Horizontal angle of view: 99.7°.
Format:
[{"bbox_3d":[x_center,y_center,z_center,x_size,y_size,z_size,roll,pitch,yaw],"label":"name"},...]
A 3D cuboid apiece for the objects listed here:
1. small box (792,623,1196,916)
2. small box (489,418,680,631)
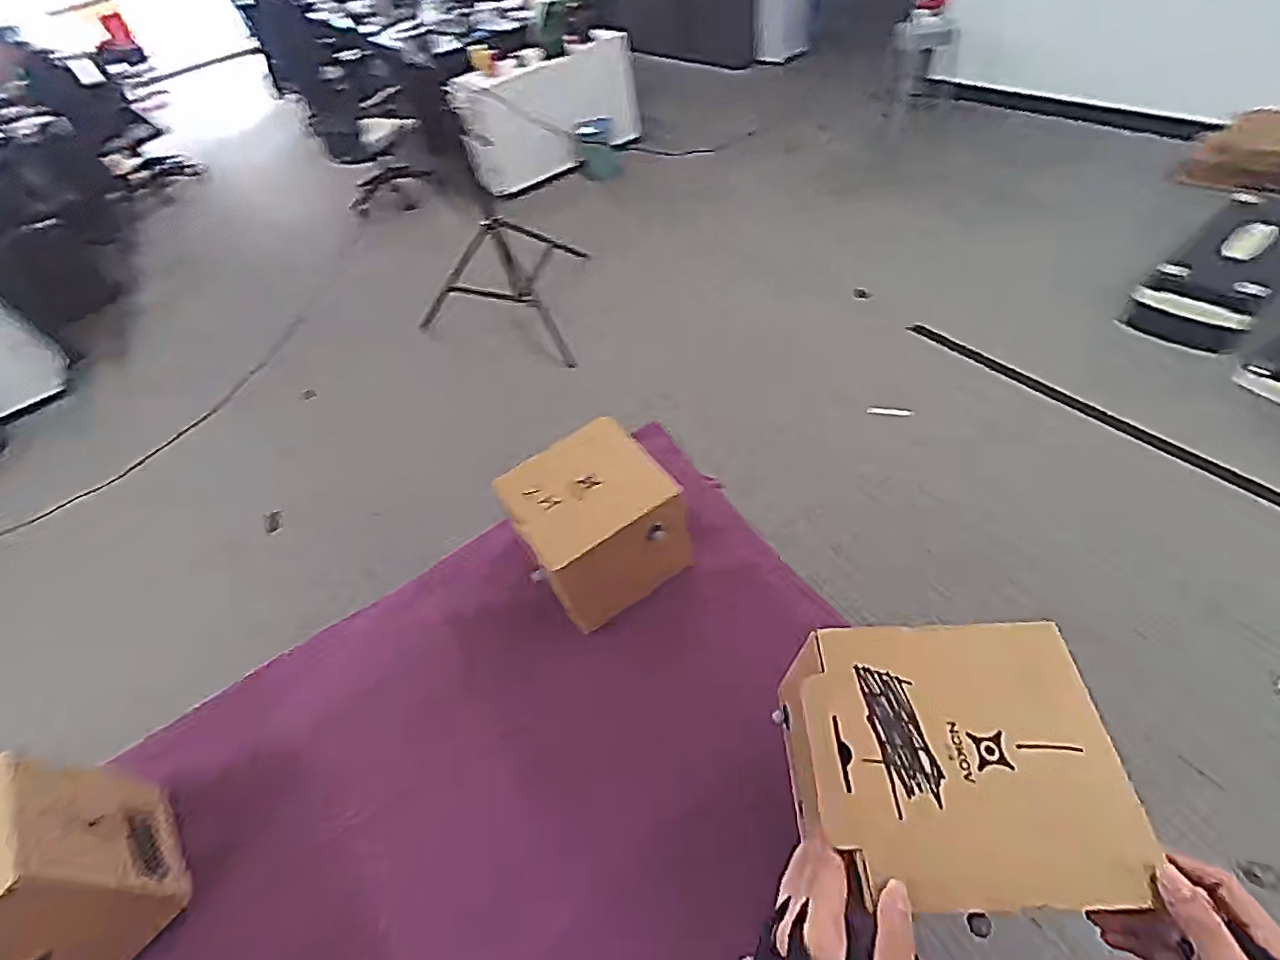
[{"bbox_3d":[0.220,0.216,0.406,0.179,0.176,0.168,-1,56,2],"label":"small box"},{"bbox_3d":[-0.061,0.059,0.698,0.179,0.176,0.168,-33,52,-15],"label":"small box"}]
